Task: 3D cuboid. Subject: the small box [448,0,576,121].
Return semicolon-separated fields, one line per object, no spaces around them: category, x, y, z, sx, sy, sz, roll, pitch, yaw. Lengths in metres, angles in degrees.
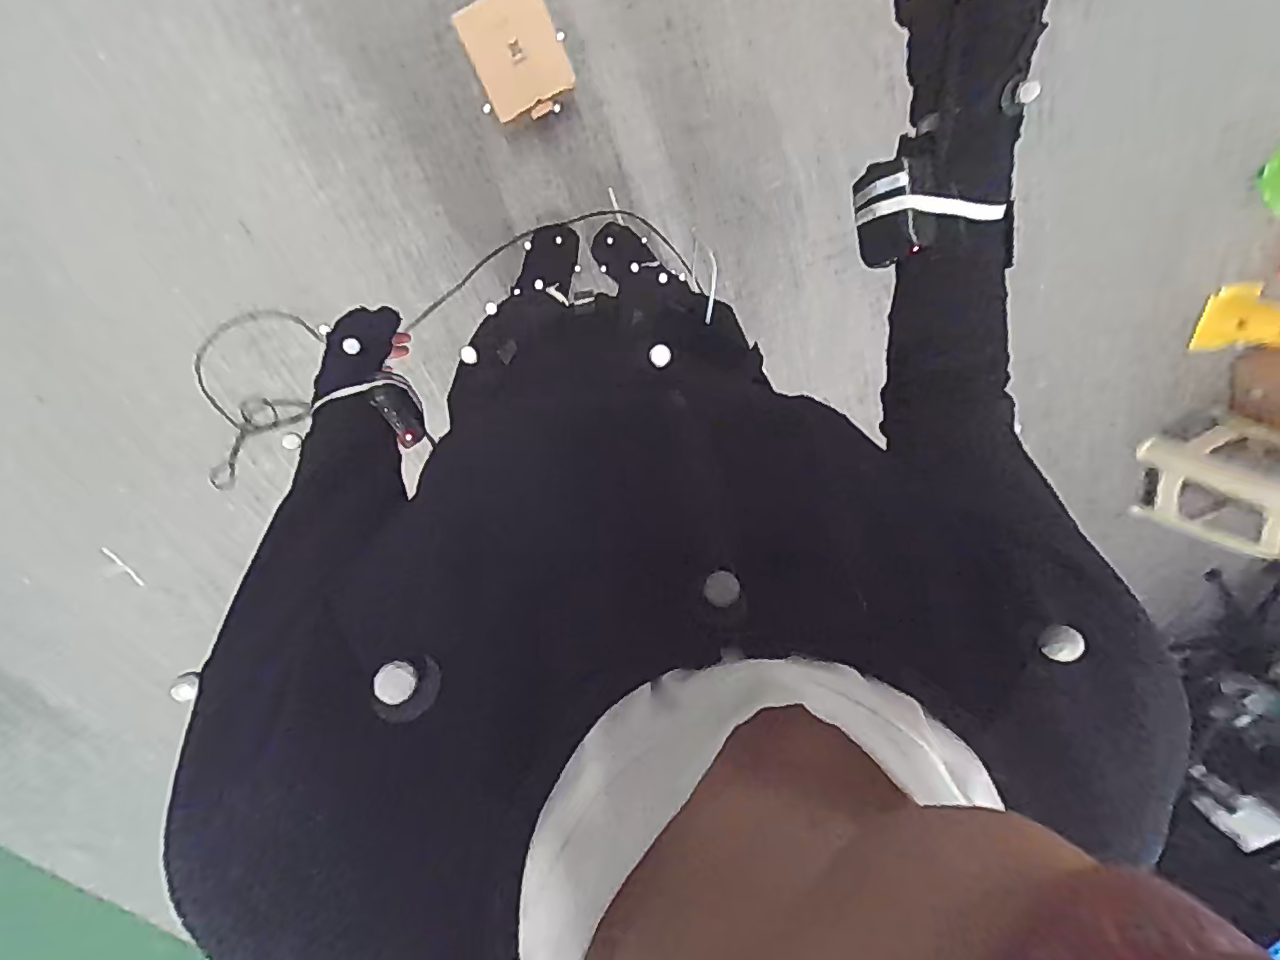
small box;-0.236;-0.809;1.024;0.168;0.176;0.179;-27;119;1
